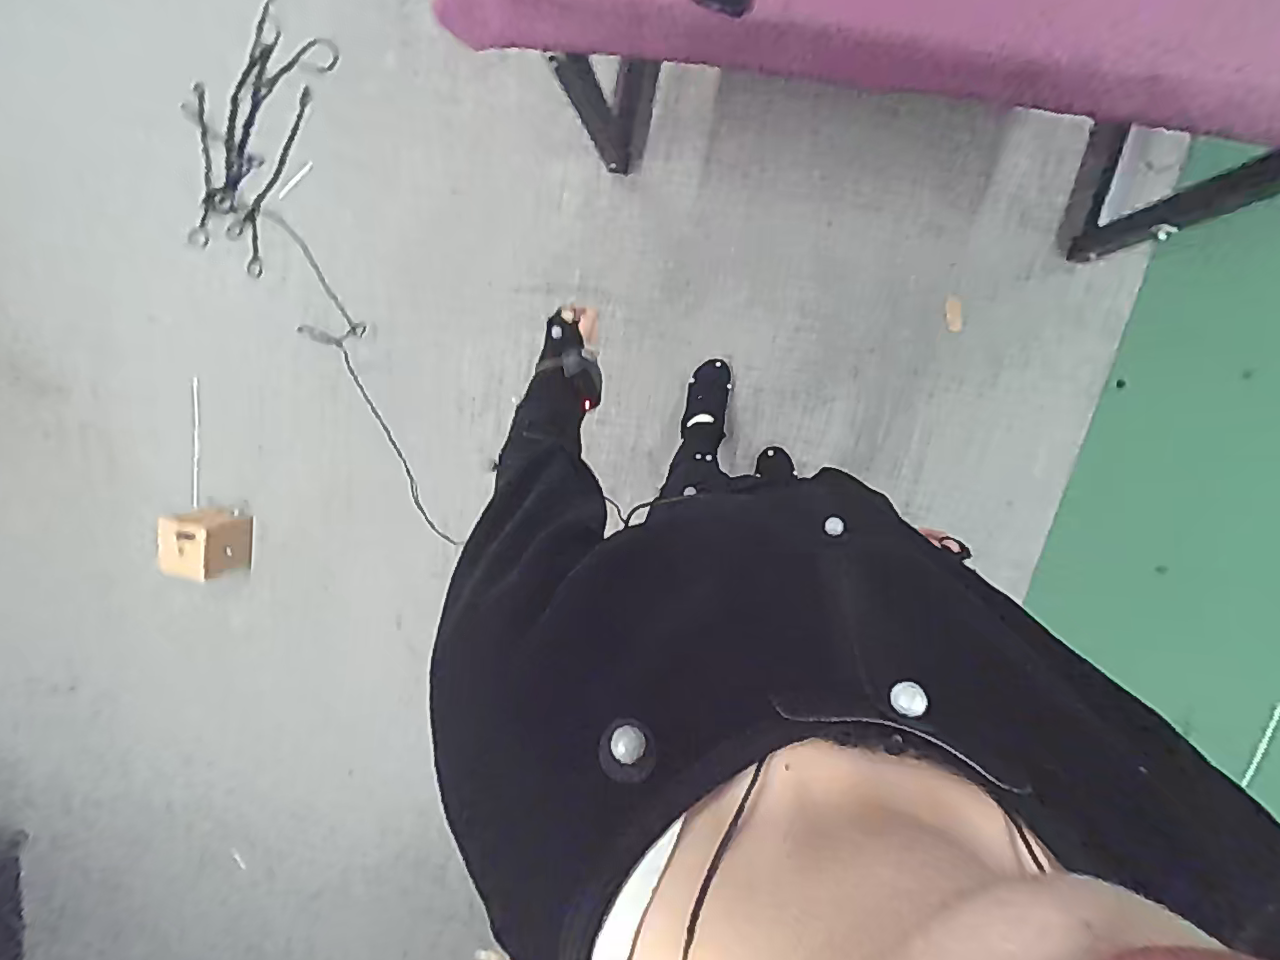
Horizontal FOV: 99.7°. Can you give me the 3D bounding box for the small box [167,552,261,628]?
[{"bbox_3d":[-1.334,0.339,1.704,0.168,0.176,0.179,8,102,8],"label":"small box"}]
